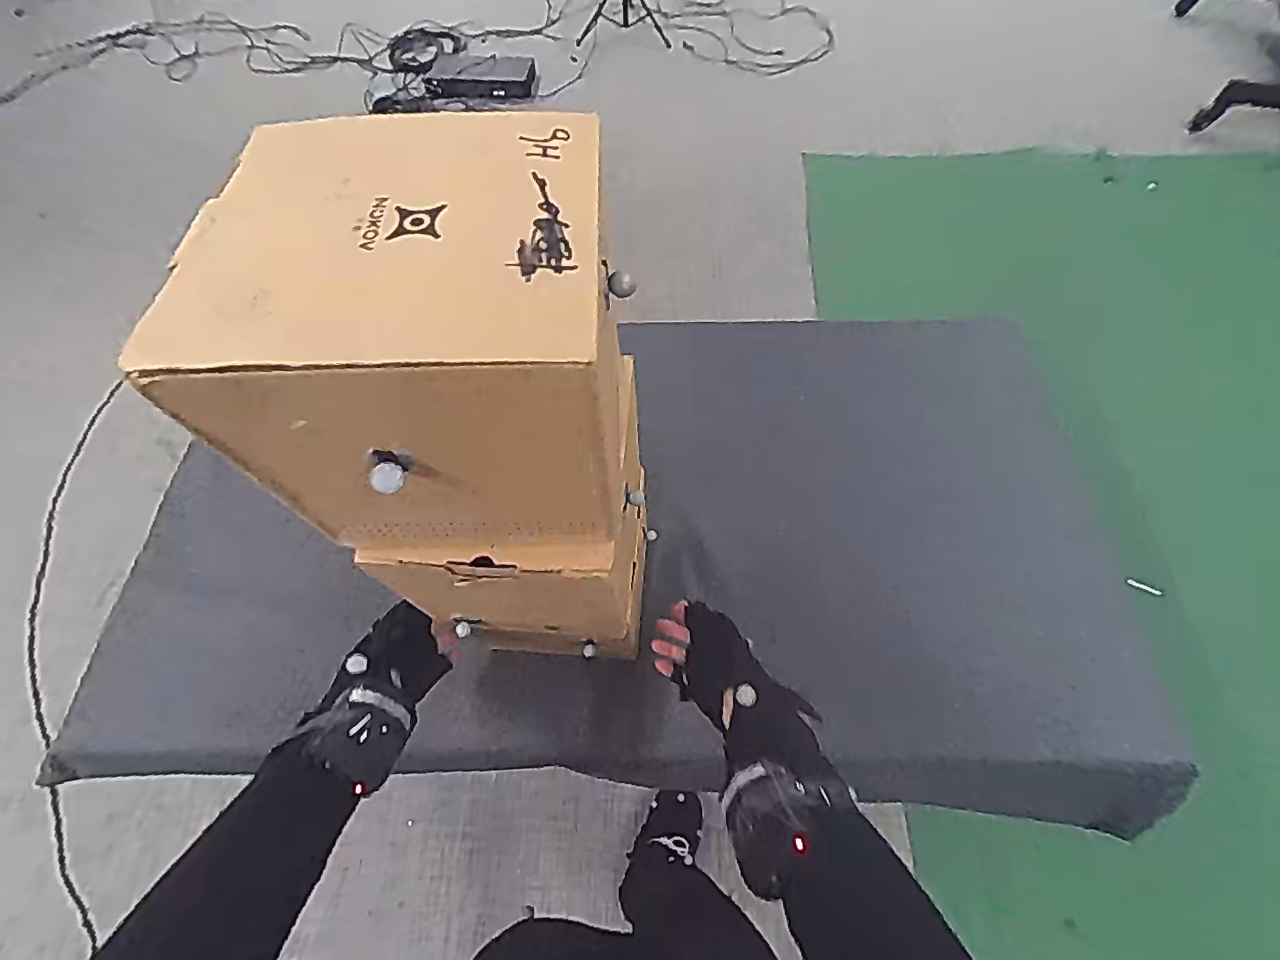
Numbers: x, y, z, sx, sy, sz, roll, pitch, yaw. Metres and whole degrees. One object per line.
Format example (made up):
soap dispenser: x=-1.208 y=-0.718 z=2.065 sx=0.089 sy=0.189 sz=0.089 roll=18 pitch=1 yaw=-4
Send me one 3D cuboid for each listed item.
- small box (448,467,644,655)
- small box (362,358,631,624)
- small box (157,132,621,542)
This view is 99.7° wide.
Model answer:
small box: x=-0.087 y=0.093 z=0.600 sx=0.179 sy=0.176 sz=0.168 roll=2 pitch=61 yaw=4
small box: x=-0.095 y=0.019 z=0.453 sx=0.168 sy=0.176 sz=0.179 roll=0 pitch=62 yaw=2
small box: x=-0.106 y=-0.072 z=0.320 sx=0.179 sy=0.176 sz=0.168 roll=-4 pitch=59 yaw=-2
